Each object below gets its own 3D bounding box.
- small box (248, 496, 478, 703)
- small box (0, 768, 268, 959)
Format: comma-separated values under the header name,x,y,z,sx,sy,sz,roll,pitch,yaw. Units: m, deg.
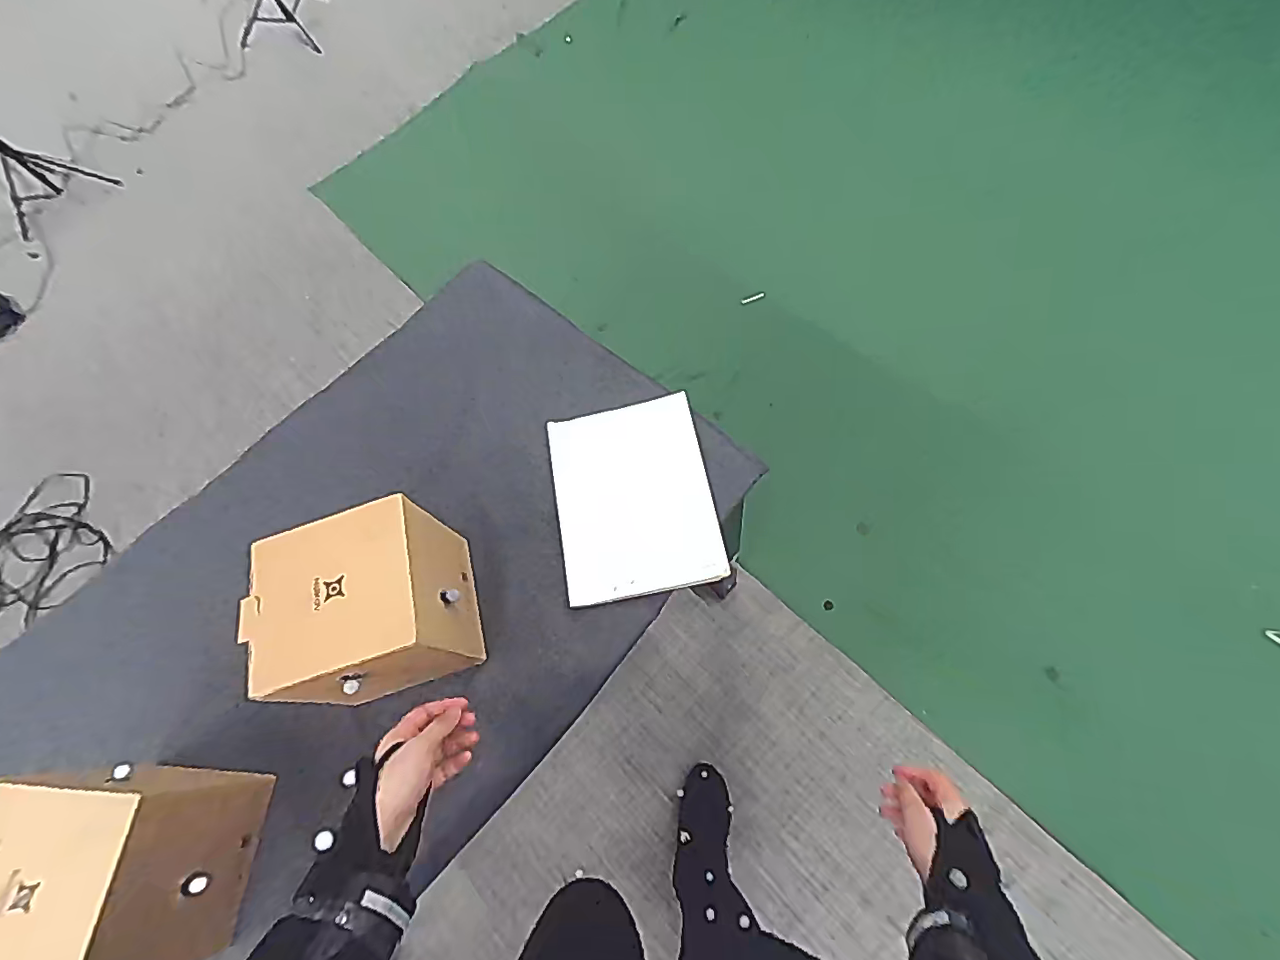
name,x,y,z,sx,sy,sz,roll,pitch,yaw
small box,-0.299,0.143,0.615,0.179,0.176,0.168,-19,65,1
small box,-0.526,0.391,0.542,0.179,0.176,0.168,0,66,8
